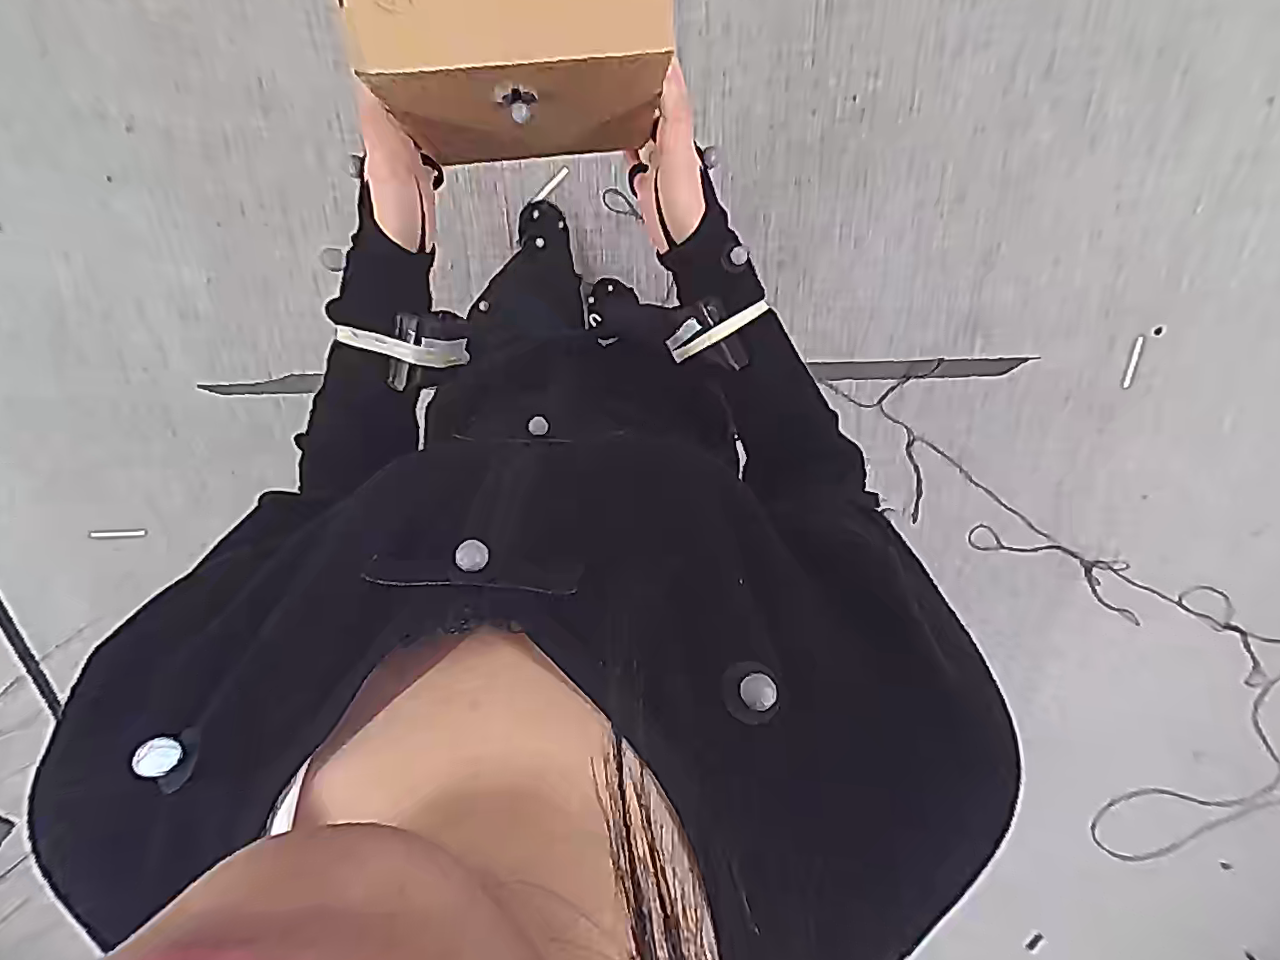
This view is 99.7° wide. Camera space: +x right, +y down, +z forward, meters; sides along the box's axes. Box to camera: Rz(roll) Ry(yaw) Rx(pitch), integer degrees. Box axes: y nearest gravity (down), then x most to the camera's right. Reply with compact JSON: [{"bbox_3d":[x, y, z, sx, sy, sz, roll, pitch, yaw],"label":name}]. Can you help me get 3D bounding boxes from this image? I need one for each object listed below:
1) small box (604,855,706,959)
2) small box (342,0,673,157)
[{"bbox_3d":[0.027,0.839,1.014,0.179,0.176,0.168,-4,112,0],"label":"small box"},{"bbox_3d":[-0.081,-0.328,0.350,0.179,0.176,0.168,-7,106,-4],"label":"small box"}]
